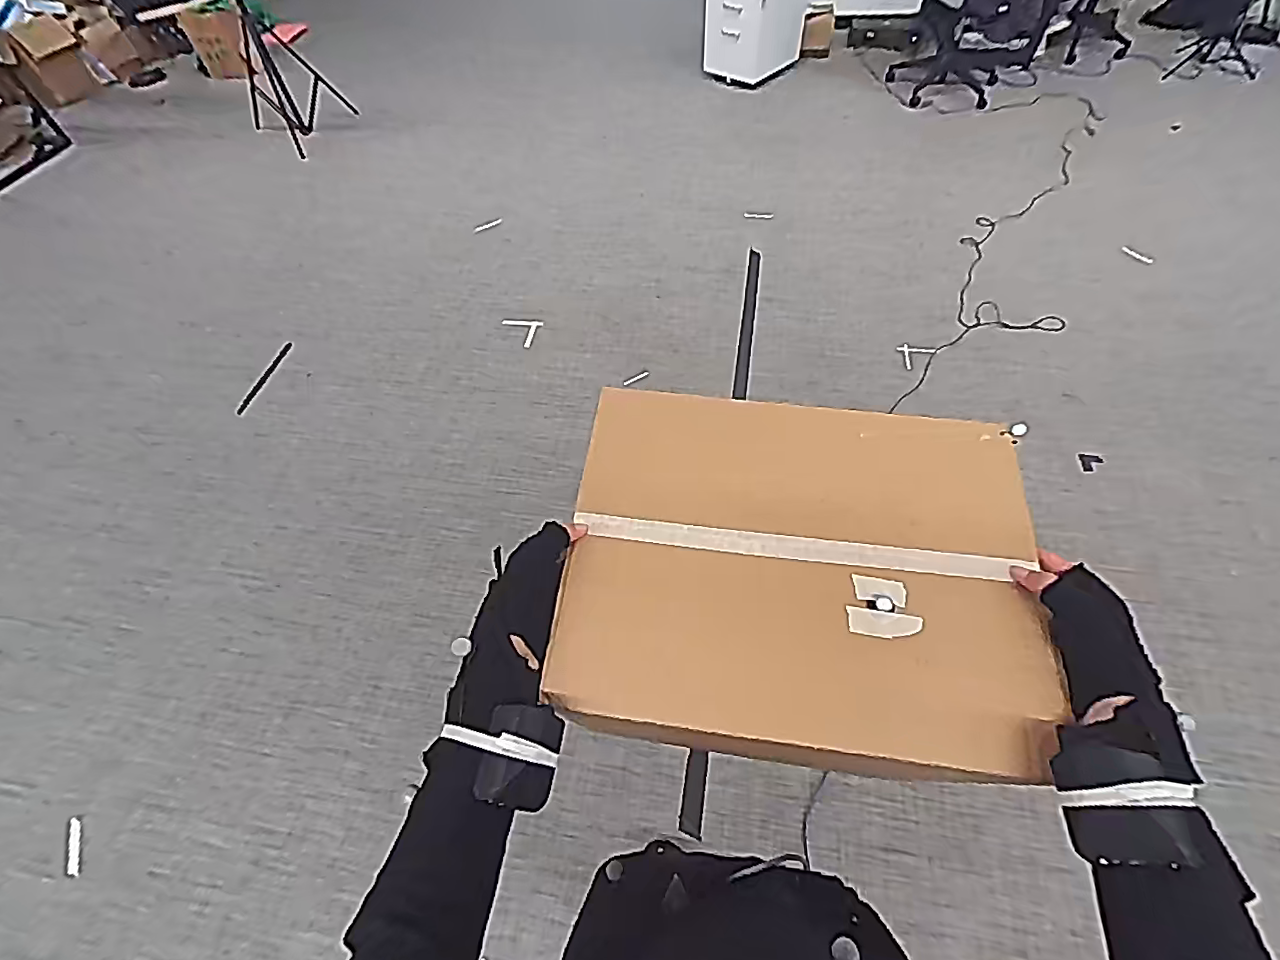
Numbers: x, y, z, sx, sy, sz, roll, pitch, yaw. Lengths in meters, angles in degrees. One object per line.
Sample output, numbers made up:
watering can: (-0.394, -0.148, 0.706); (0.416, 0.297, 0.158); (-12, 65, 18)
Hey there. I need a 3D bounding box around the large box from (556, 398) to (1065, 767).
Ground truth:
large box: (0.146, 0.133, 0.622); (0.408, 0.320, 0.320); (6, 63, 5)
